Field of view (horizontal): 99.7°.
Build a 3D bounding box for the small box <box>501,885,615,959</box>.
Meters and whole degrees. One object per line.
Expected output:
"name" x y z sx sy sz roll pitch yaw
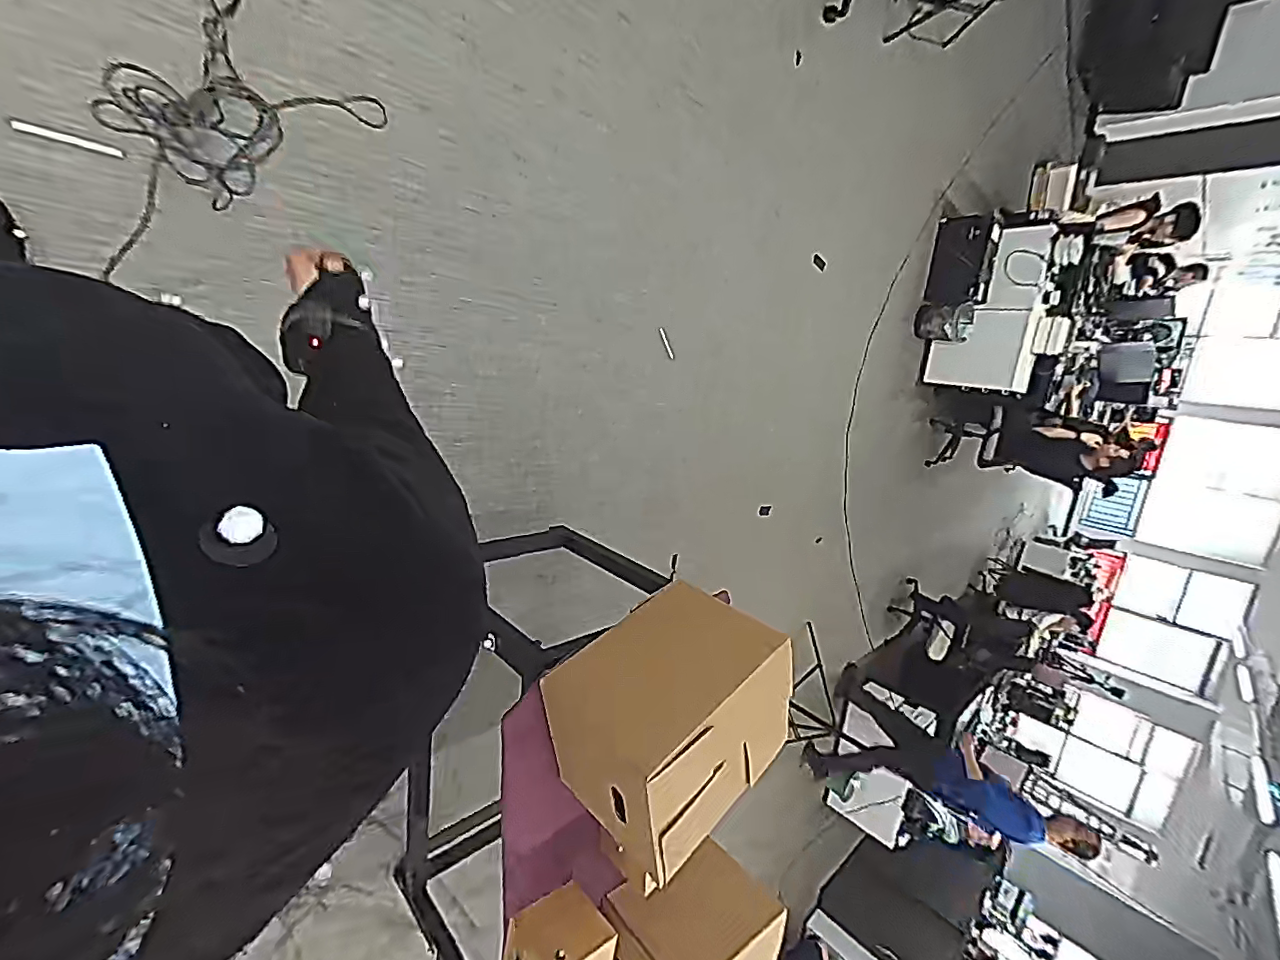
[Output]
"small box" -0.185 1.052 1.189 0.179 0.176 0.168 2 102 -44
